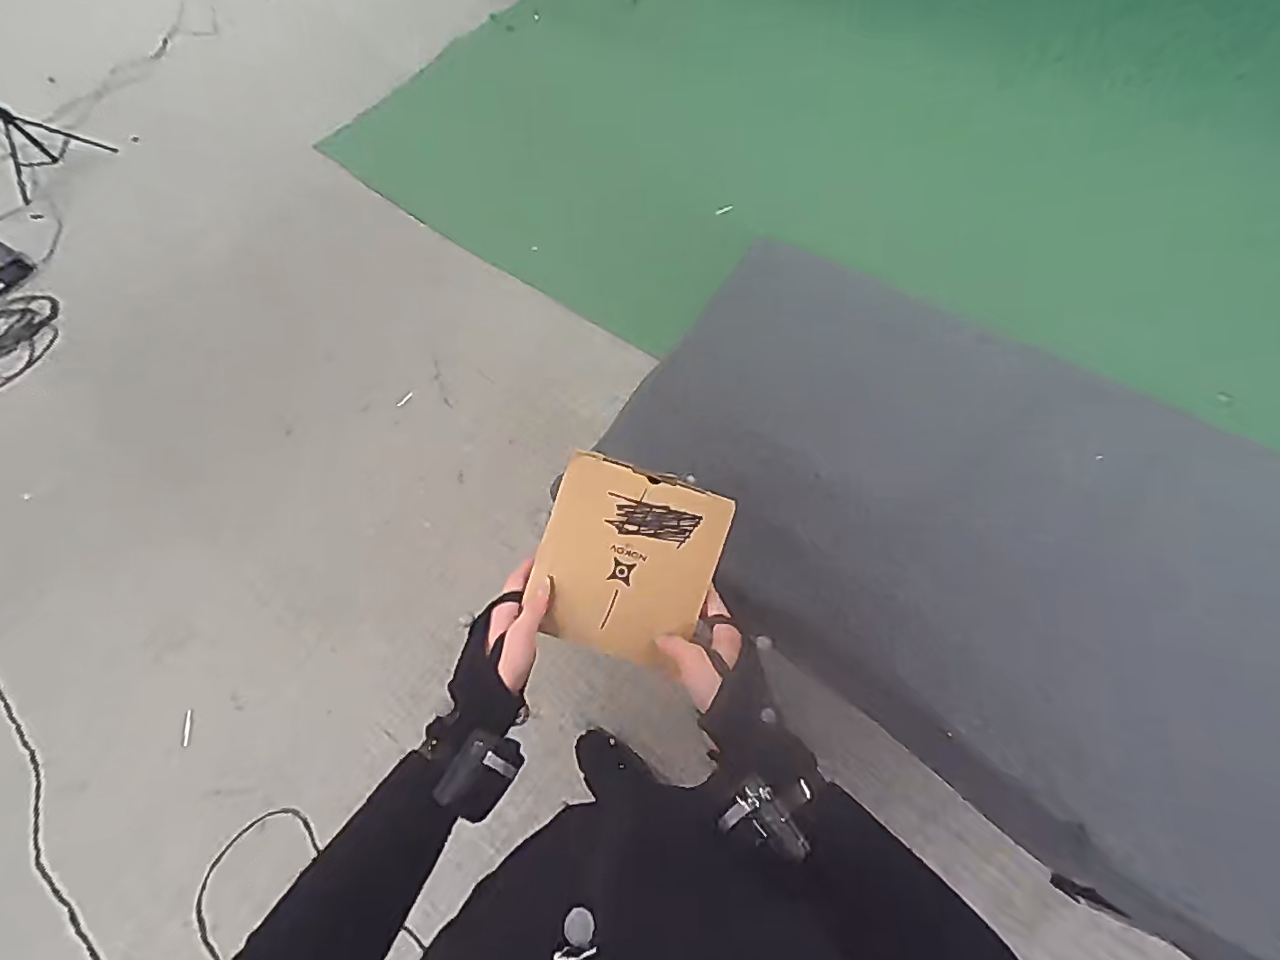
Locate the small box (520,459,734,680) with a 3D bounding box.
[{"bbox_3d":[-0.016,0.084,0.596,0.168,0.176,0.179,19,91,-2],"label":"small box"}]
